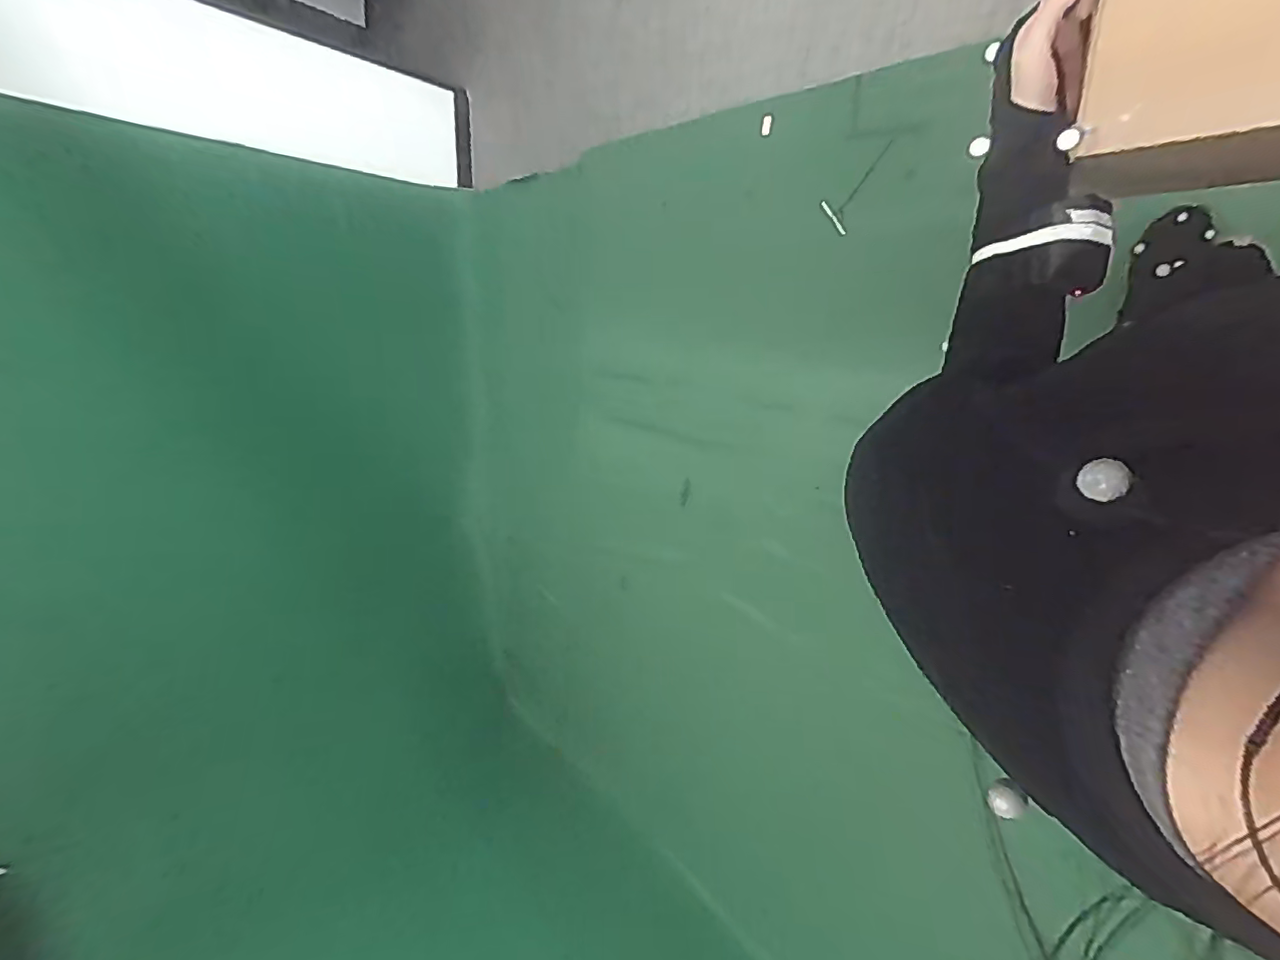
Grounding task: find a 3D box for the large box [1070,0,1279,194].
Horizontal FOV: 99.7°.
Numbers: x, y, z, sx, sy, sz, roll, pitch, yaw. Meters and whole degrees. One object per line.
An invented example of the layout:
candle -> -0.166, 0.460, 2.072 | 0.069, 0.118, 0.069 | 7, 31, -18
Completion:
large box -> 0.561, -0.401, 0.351 | 0.408, 0.320, 0.320 | 10, 112, 36
